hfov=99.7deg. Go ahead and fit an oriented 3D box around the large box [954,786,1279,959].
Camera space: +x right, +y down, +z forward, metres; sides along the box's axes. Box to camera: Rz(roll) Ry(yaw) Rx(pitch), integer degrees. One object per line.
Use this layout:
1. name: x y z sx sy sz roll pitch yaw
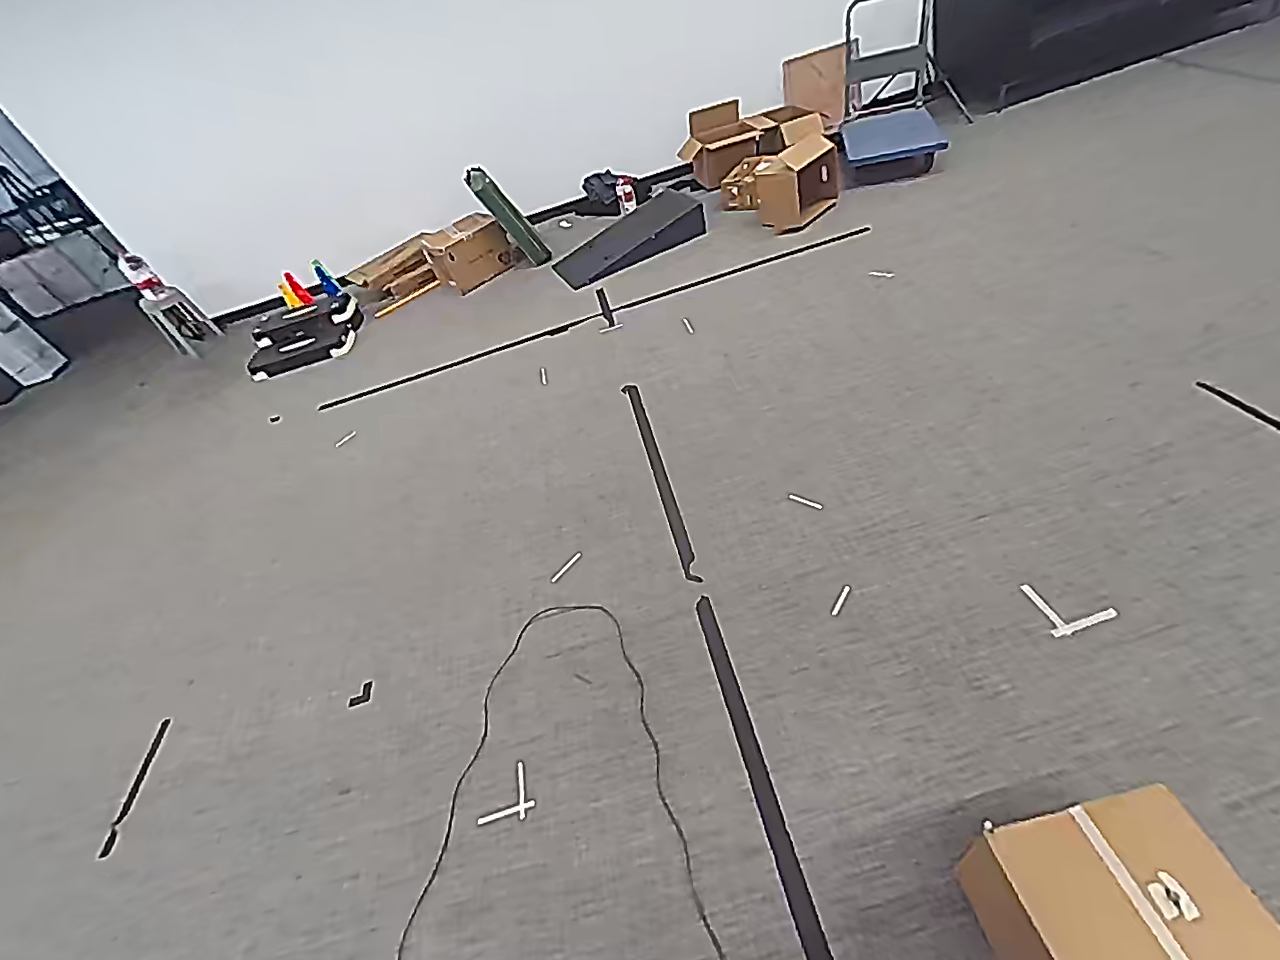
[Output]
1. large box: 0.797 0.799 0.880 0.320 0.320 0.408 -16 42 1
